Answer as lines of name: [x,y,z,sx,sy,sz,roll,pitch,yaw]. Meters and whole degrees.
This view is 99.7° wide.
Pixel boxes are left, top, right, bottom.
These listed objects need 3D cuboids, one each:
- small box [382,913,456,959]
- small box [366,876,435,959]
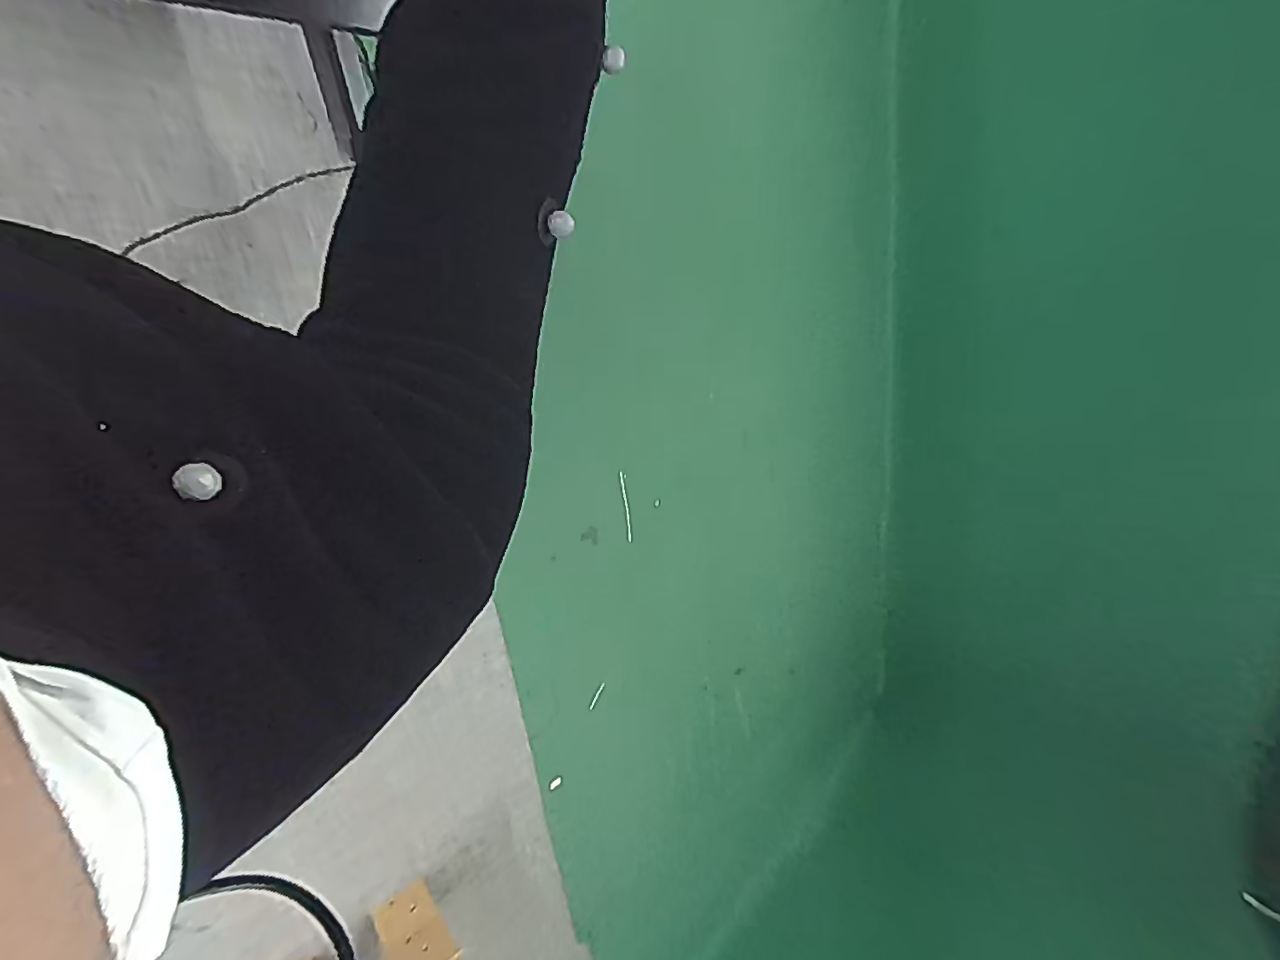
small box: [-0.673,1.488,1.657,0.168,0.176,0.179,-15,110,-39]
small box: [-0.781,1.460,1.779,0.168,0.176,0.179,-18,112,-39]
